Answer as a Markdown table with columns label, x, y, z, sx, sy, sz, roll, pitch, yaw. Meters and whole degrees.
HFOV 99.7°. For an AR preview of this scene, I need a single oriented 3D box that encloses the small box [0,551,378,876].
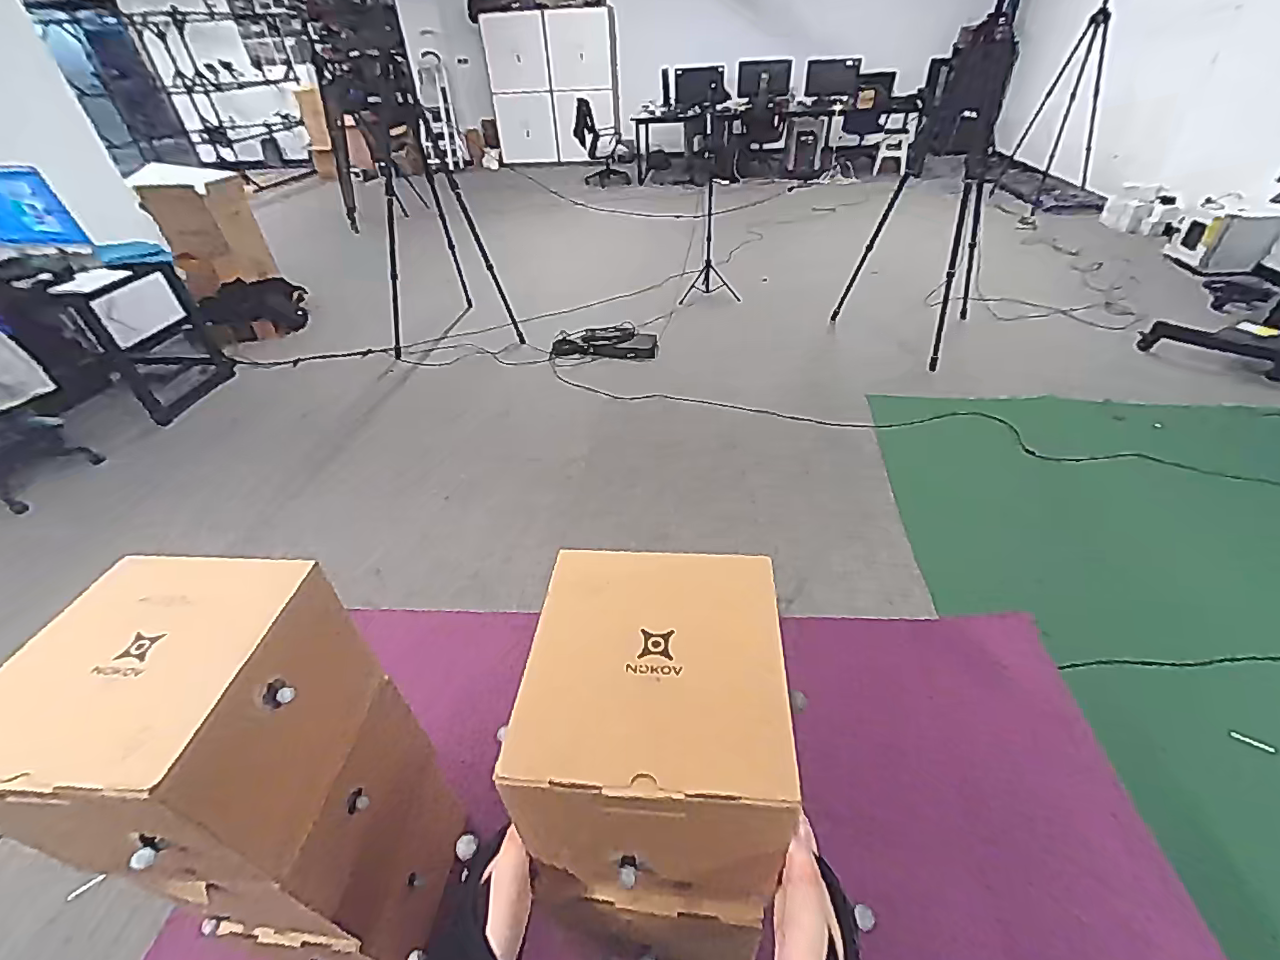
| label | x | y | z | sx | sy | sz | roll | pitch | yaw |
| --- | --- | --- | --- | --- | --- | --- | --- | --- | --- |
| small box | -0.336 | 0.178 | 0.420 | 0.168 | 0.176 | 0.179 | 2 | 39 | 5 |

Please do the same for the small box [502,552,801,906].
| label | x | y | z | sx | sy | sz | roll | pitch | yaw |
| --- | --- | --- | --- | --- | --- | --- | --- | --- | --- |
| small box | 0.015 | 0.177 | 0.401 | 0.168 | 0.176 | 0.179 | 2 | 40 | 6 |

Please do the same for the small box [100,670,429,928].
| label | x | y | z | sx | sy | sz | roll | pitch | yaw |
| --- | --- | --- | --- | --- | --- | --- | --- | --- | --- |
| small box | -0.331 | 0.301 | 0.526 | 0.168 | 0.176 | 0.179 | 3 | 39 | 7 |

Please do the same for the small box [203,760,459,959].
| label | x | y | z | sx | sy | sz | roll | pitch | yaw |
| --- | --- | --- | --- | --- | --- | --- | --- | --- | --- |
| small box | -0.329 | 0.433 | 0.625 | 0.168 | 0.176 | 0.179 | 3 | 40 | 6 |
